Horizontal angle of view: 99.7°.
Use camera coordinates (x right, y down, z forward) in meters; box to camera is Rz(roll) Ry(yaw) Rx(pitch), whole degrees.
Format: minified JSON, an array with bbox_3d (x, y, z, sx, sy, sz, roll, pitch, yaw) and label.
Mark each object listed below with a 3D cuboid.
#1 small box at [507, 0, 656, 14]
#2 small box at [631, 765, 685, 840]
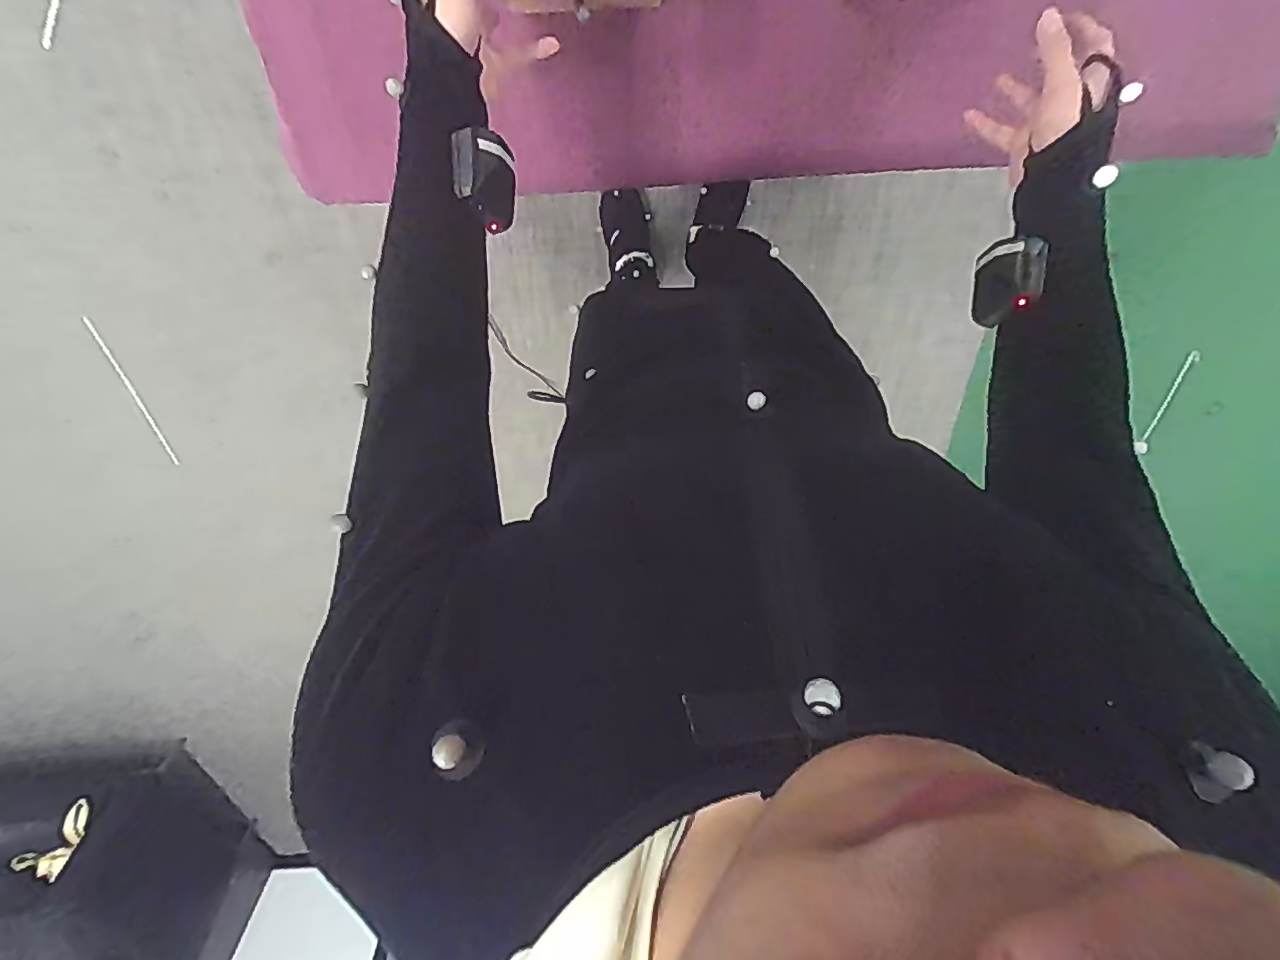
[{"bbox_3d":[-0.063,-0.538,0.474,0.168,0.176,0.179,-2,124,0],"label":"small box"},{"bbox_3d":[0.056,1.095,1.840,0.168,0.176,0.179,4,125,-3],"label":"small box"}]
